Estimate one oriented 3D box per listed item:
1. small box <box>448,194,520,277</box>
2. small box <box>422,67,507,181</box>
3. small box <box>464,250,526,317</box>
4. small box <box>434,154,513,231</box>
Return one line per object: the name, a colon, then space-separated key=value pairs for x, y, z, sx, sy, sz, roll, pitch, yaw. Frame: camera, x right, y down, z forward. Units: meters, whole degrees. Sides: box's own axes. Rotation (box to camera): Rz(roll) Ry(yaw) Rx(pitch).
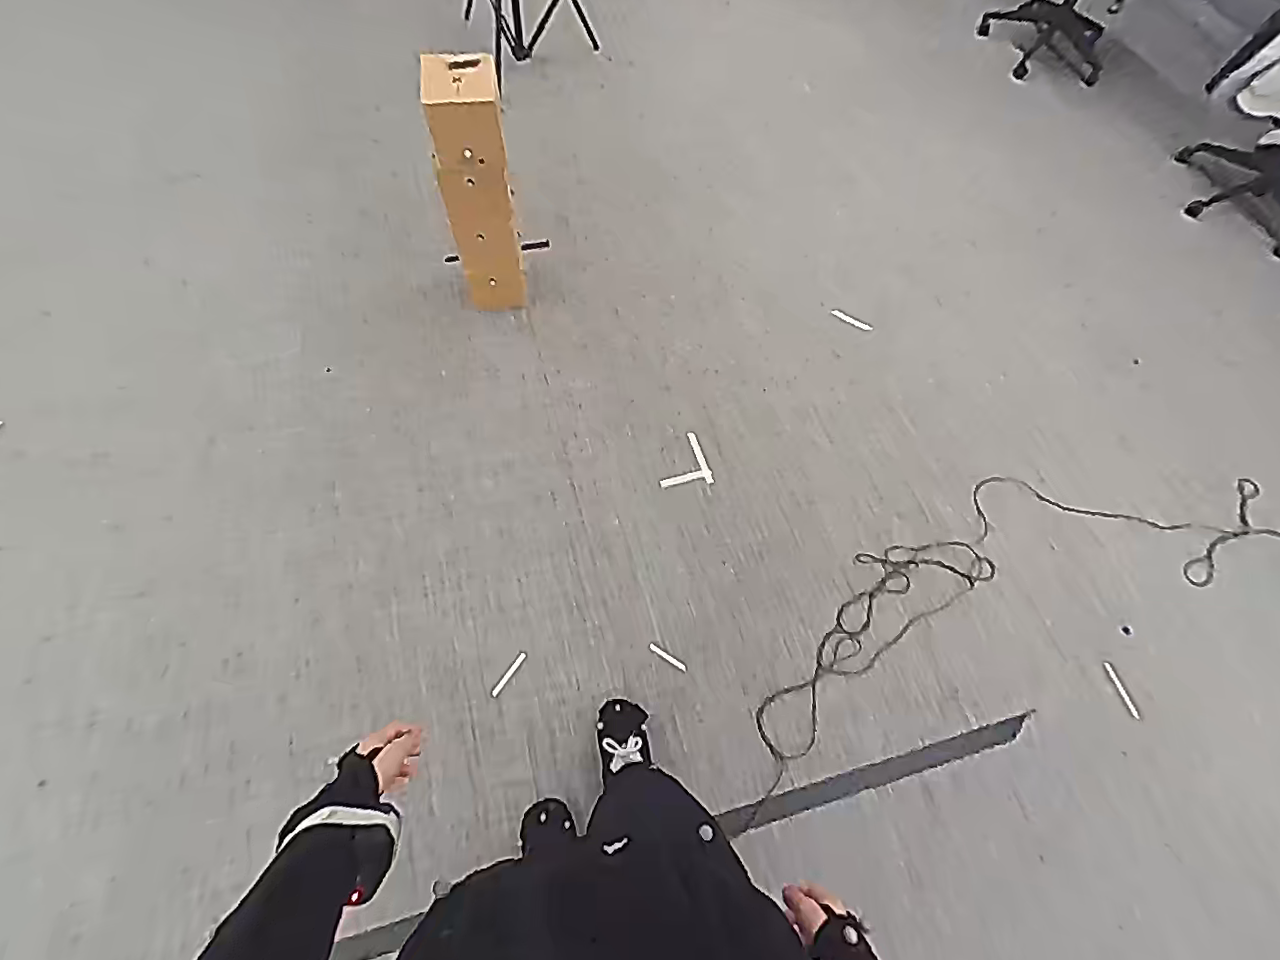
small box: x=-0.458 y=-0.726 z=1.612 sx=0.179 sy=0.176 sz=0.168 roll=-3 pitch=67 yaw=-6
small box: x=-0.423 y=-0.865 z=1.319 sx=0.168 sy=0.176 sz=0.179 roll=-7 pitch=68 yaw=-6
small box: x=-0.467 y=-0.651 z=1.758 sx=0.179 sy=0.176 sz=0.168 roll=-6 pitch=67 yaw=-7
small box: x=-0.449 y=-0.799 z=1.468 sx=0.179 sy=0.176 sz=0.168 roll=-6 pitch=67 yaw=-8
